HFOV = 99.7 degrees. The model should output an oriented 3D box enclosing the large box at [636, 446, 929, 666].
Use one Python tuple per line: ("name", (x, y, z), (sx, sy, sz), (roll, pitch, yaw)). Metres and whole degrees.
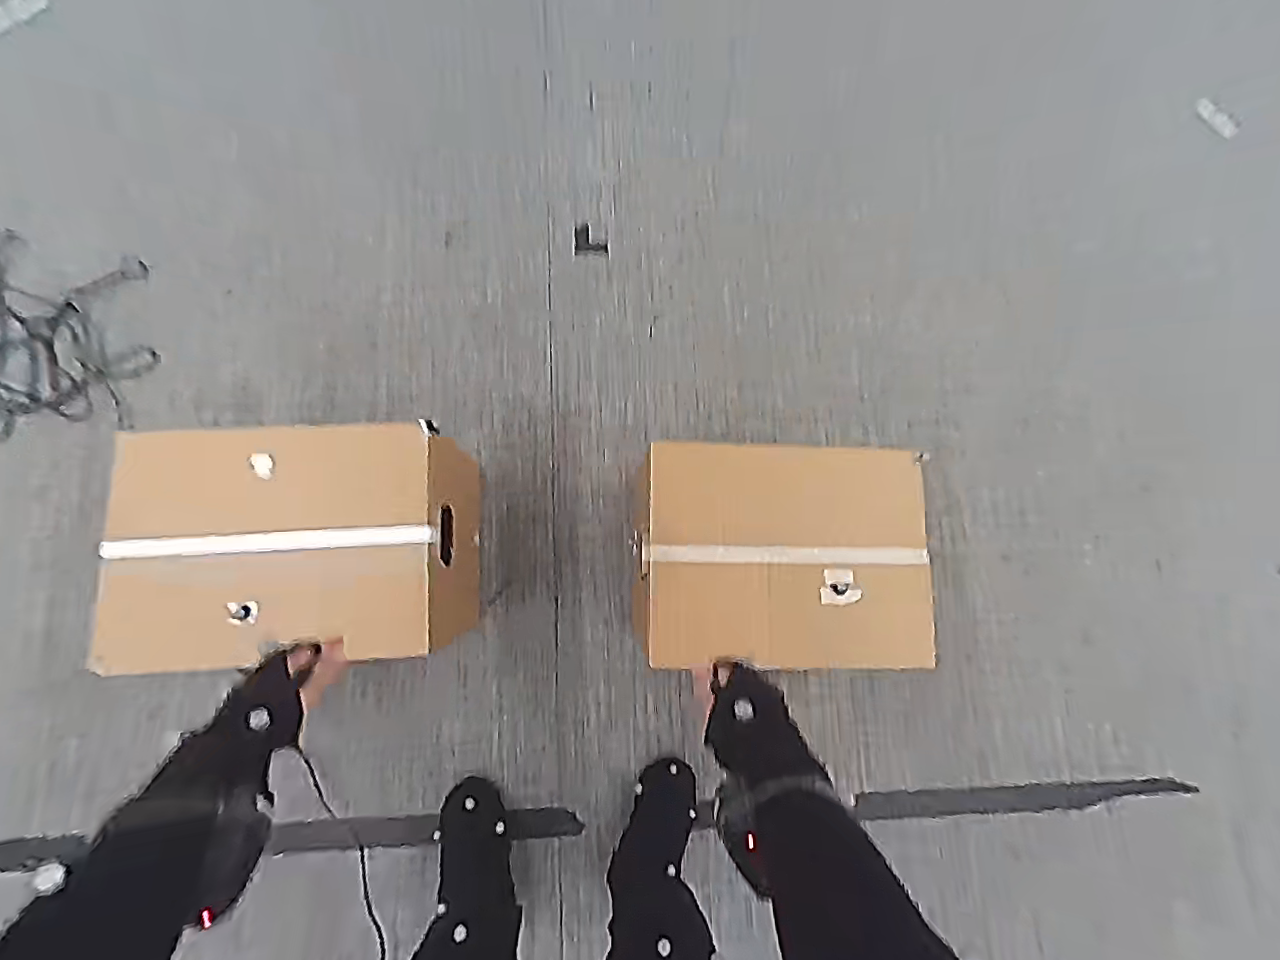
("large box", (0.203, 0.132, 0.927), (0.408, 0.320, 0.320), (2, 80, -5))
